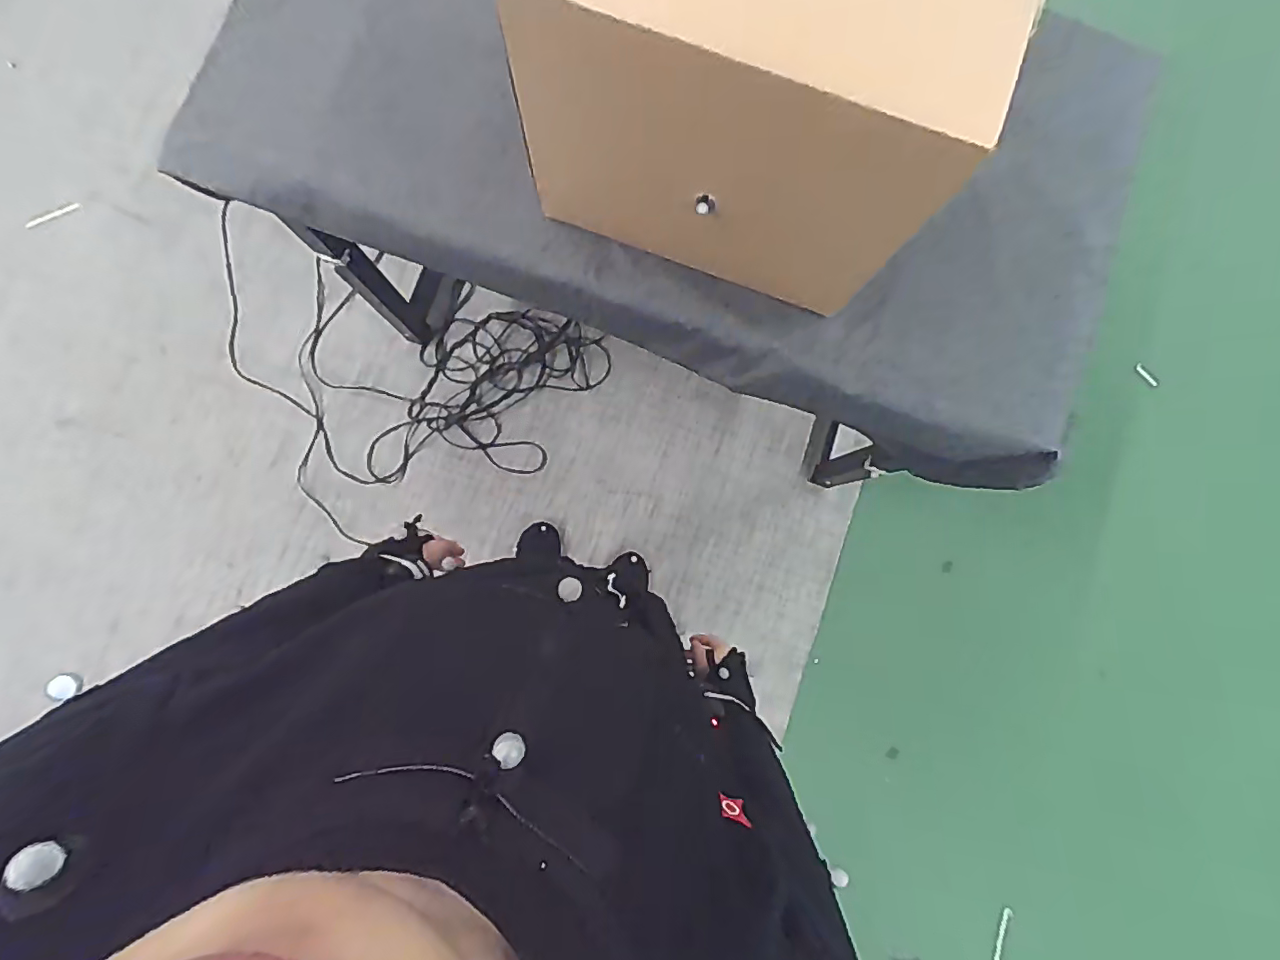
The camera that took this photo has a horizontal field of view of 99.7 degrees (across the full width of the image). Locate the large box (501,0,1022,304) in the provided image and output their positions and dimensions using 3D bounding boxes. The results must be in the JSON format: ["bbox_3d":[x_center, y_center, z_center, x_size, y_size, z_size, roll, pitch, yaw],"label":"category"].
[{"bbox_3d":[0.121,-0.442,0.584,0.408,0.320,0.320,18,83,0],"label":"large box"}]
